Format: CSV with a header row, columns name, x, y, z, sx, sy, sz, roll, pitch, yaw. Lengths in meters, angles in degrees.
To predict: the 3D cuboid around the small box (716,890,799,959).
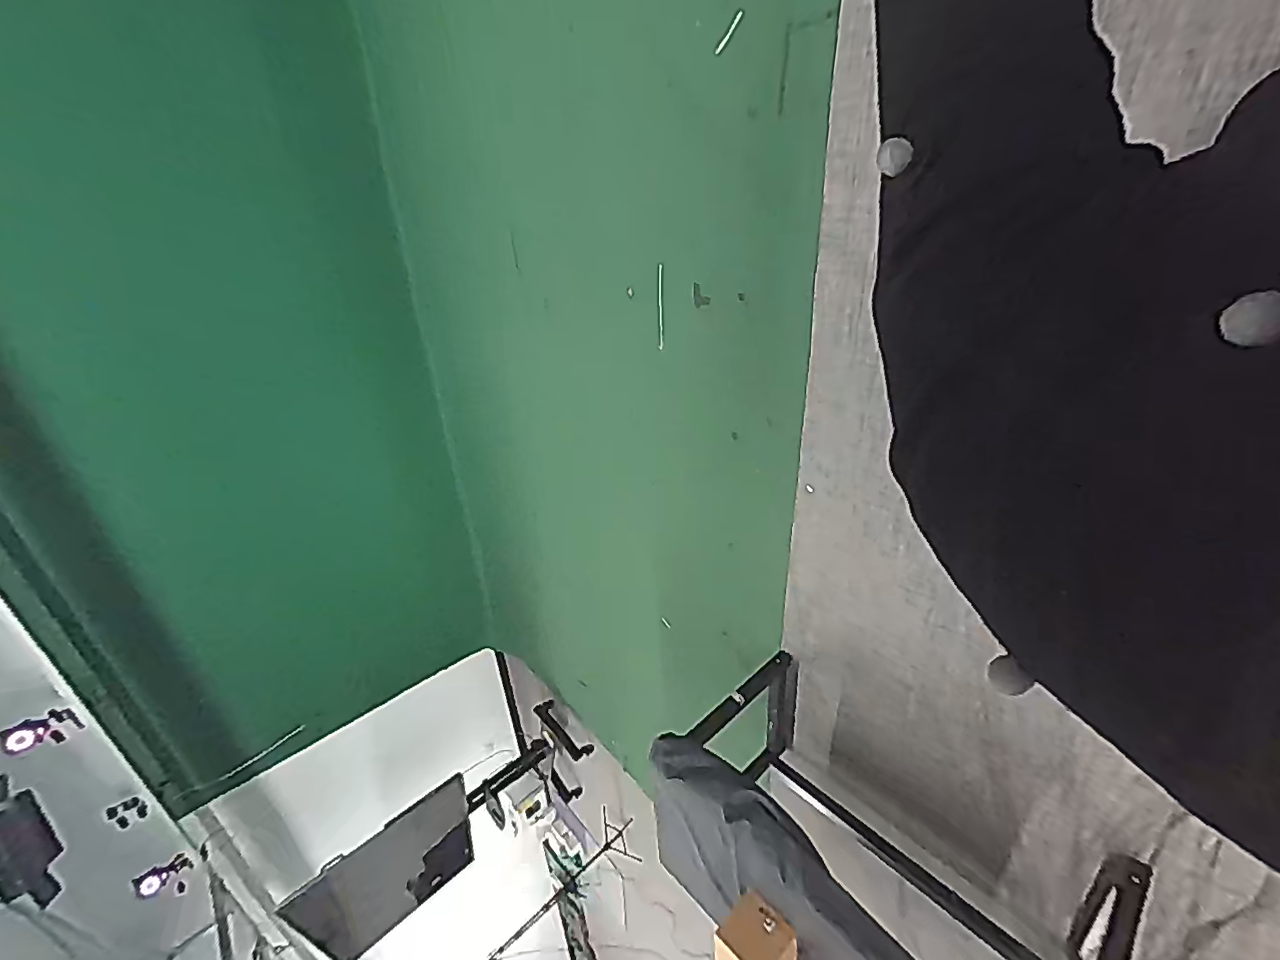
name,x,y,z,sx,sy,sz,roll,pitch,yaw
small box,0.336,1.332,1.531,0.168,0.176,0.179,19,124,44
